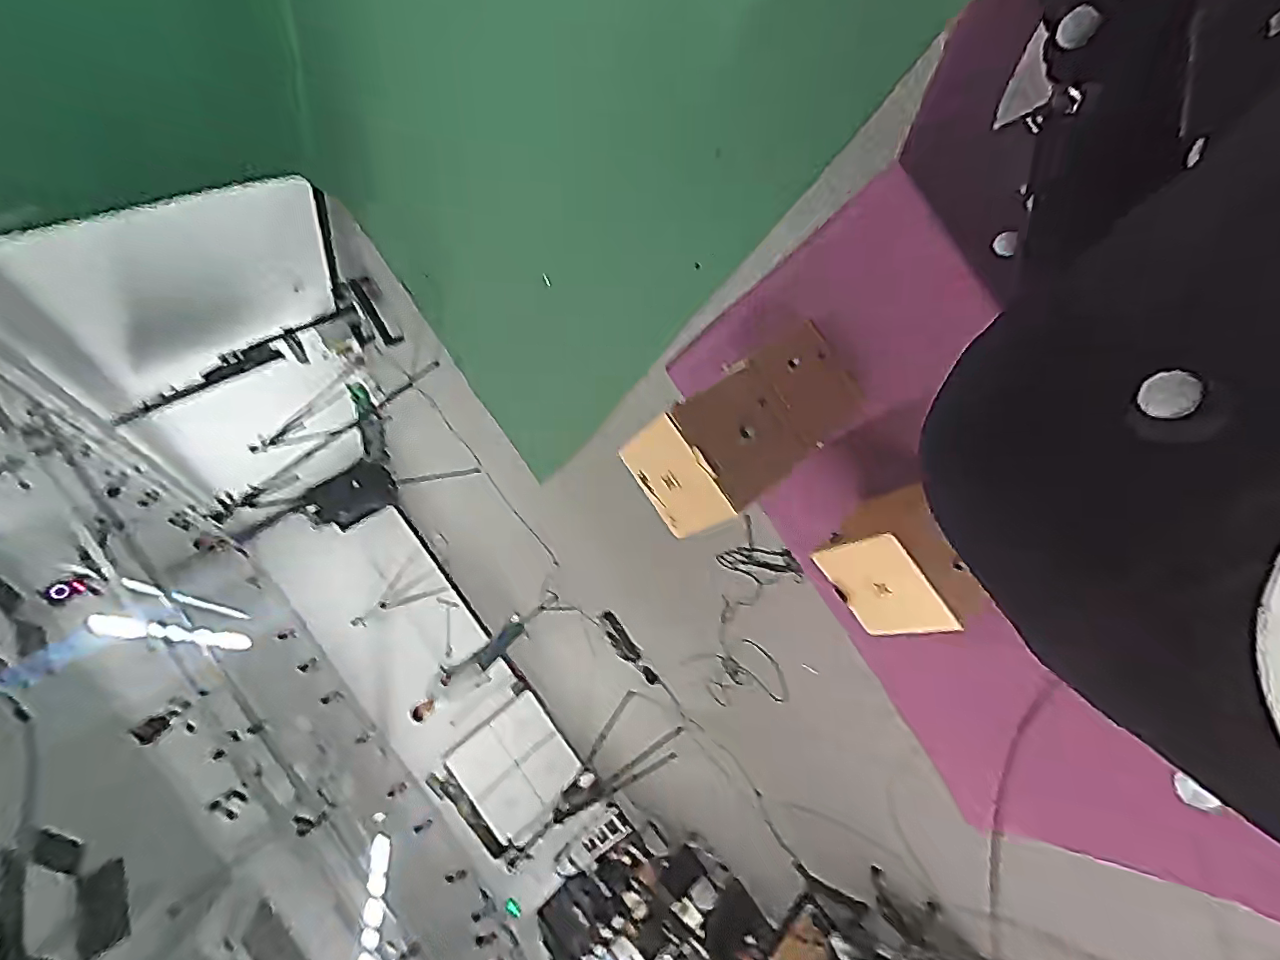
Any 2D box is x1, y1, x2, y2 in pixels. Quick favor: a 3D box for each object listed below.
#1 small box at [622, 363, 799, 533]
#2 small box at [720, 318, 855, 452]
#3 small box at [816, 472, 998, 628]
[{"bbox_3d":[0.110,-0.046,0.807,0.168,0.176,0.179,55,150,-1],"label":"small box"},{"bbox_3d":[0.222,-0.135,0.888,0.168,0.176,0.179,55,151,-1],"label":"small box"},{"bbox_3d":[0.425,0.111,0.855,0.168,0.176,0.179,53,152,1],"label":"small box"}]
